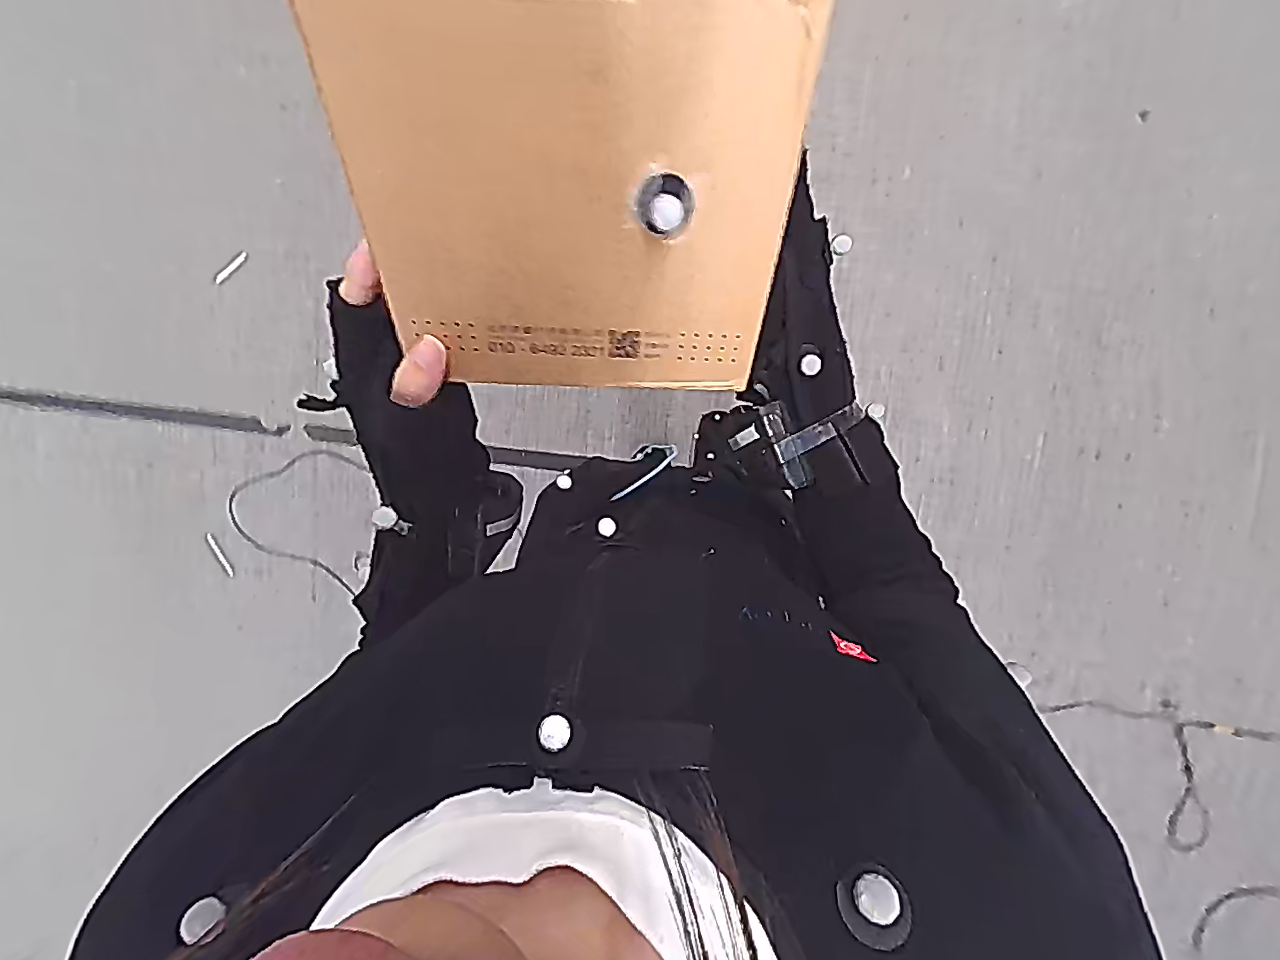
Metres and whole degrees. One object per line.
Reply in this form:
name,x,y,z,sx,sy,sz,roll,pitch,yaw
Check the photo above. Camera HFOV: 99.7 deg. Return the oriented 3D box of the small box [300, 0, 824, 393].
small box,-0.026,-0.159,0.274,0.168,0.179,0.176,1,137,-3
